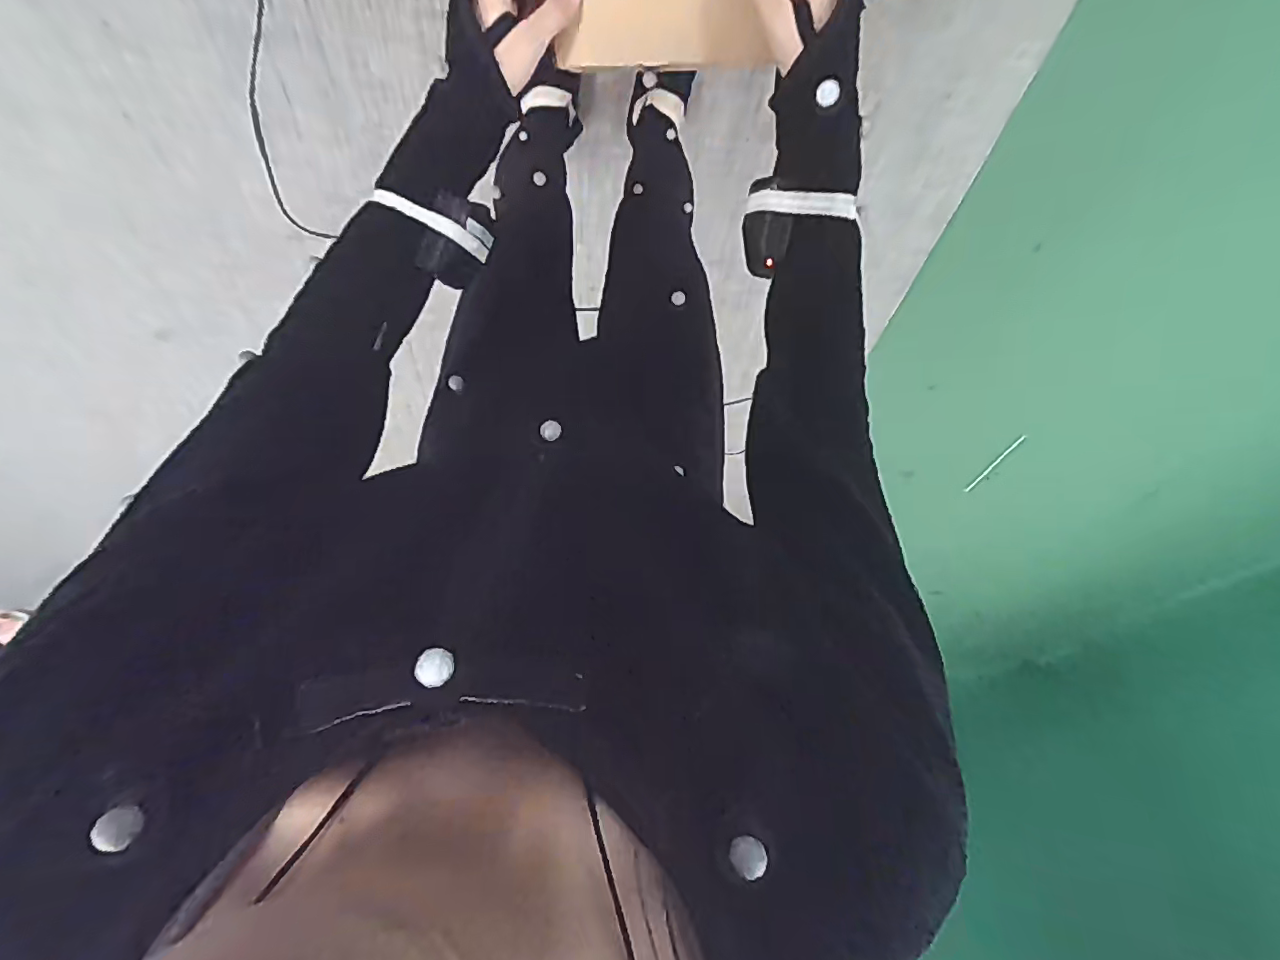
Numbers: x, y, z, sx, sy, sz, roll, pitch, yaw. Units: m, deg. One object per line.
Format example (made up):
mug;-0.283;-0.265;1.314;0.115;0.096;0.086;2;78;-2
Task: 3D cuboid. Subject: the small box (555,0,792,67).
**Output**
small box;0.024;-0.437;0.431;0.179;0.176;0.168;-1;126;0
